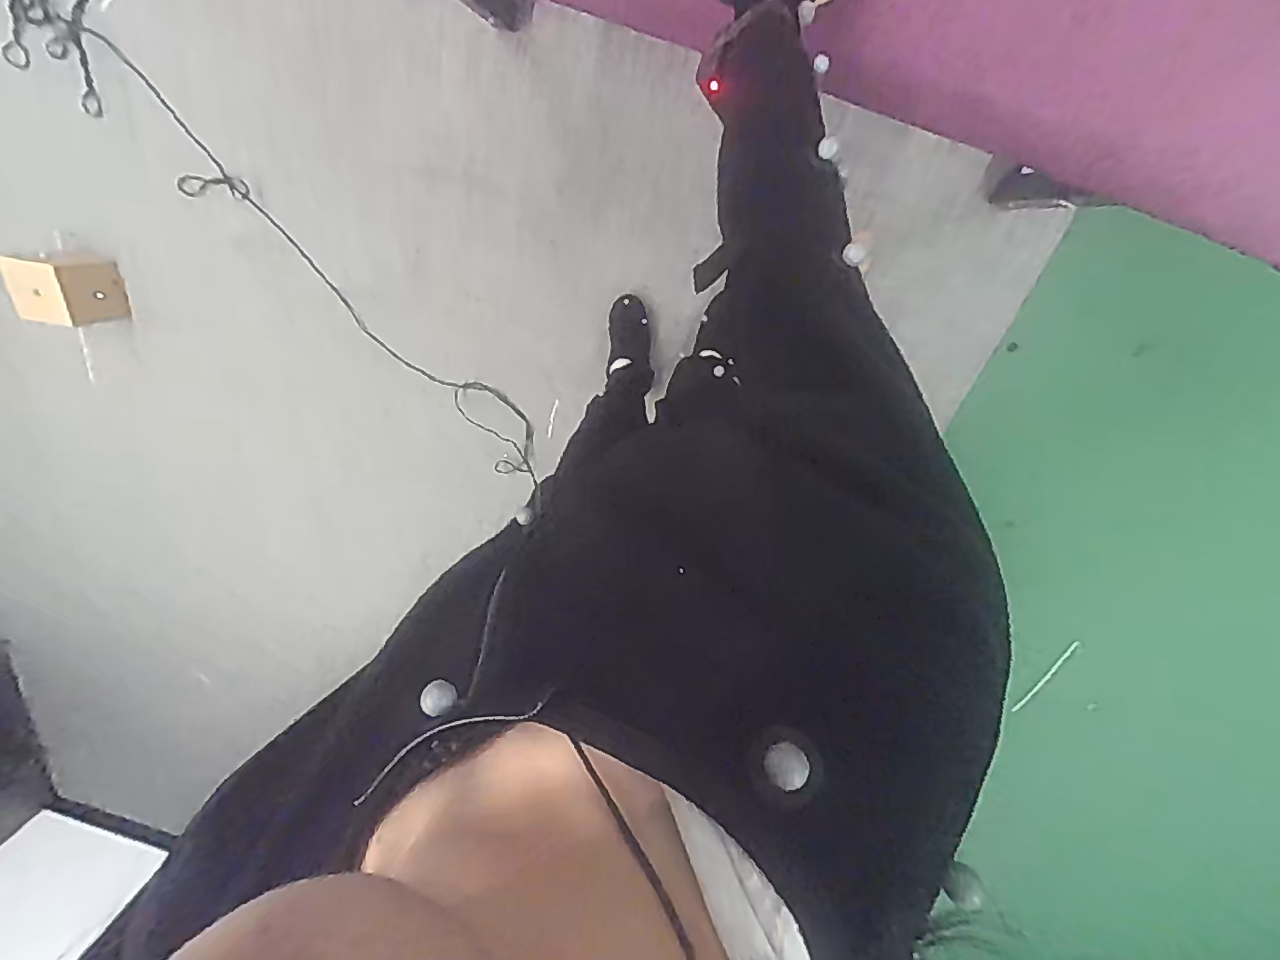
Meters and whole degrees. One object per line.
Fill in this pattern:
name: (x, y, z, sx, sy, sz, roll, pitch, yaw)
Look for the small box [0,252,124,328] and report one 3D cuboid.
small box: (-1.619, -0.542, 1.526, 0.179, 0.176, 0.168, 12, 117, 5)
